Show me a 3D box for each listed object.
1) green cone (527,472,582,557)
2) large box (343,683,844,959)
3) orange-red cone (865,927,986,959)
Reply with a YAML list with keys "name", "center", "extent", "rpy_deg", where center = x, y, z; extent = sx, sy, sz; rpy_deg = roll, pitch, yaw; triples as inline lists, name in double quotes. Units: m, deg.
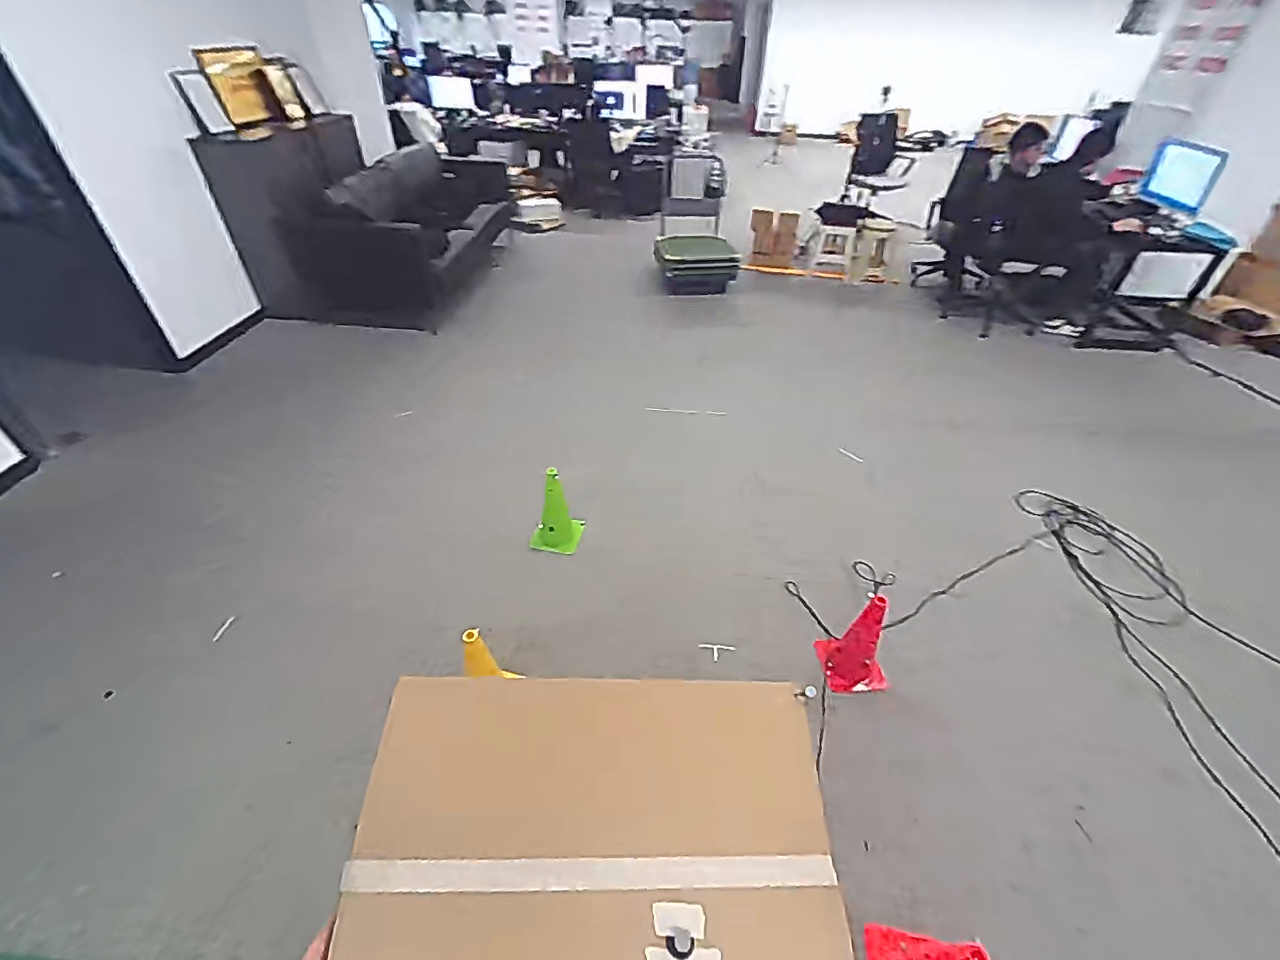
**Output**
- name: "green cone"
  center: [-0.359, 0.112, 2.194]
  extent: [0.200, 0.368, 0.202]
  rpy_deg: [8, 41, 8]
- name: "large box"
  center: [-0.045, 0.422, 0.578]
  extent: [0.408, 0.320, 0.320]
  rpy_deg: [2, 54, -4]
- name: "orange-red cone"
  center: [0.624, 1.032, 1.119]
  extent: [0.199, 0.360, 0.198]
  rpy_deg: [11, 41, 8]
